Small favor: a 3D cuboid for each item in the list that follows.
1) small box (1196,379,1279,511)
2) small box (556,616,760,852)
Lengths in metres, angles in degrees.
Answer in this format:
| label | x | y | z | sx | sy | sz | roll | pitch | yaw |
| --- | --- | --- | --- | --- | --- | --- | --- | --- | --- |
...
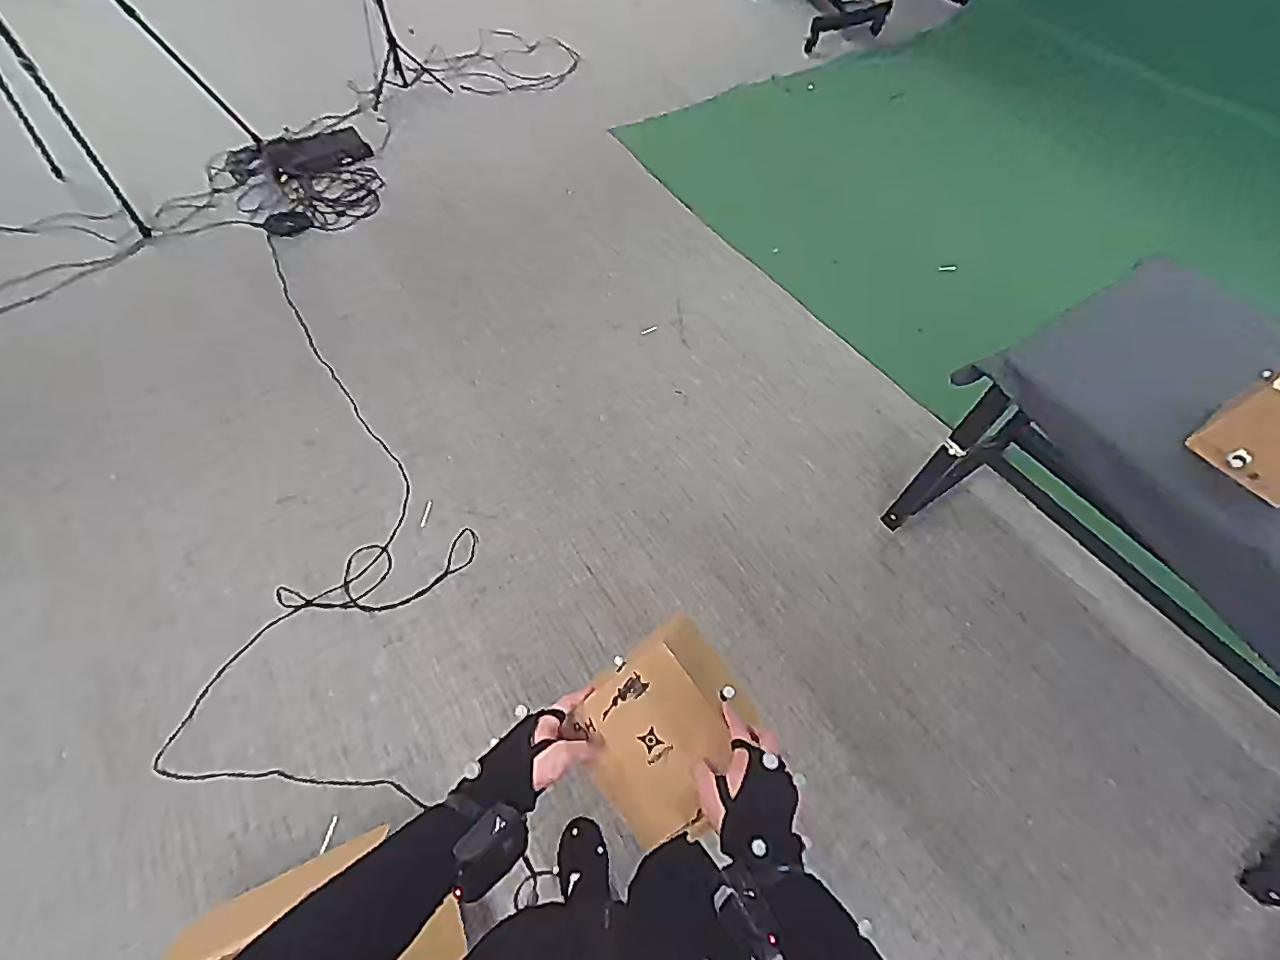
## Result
| label | x | y | z | sx | sy | sz | roll | pitch | yaw |
| --- | --- | --- | --- | --- | --- | --- | --- | --- | --- |
| small box | 1.113 | -0.080 | 0.905 | 0.179 | 0.176 | 0.168 | -31 | 63 | -18 |
| small box | 0.033 | 0.296 | 0.672 | 0.168 | 0.176 | 0.179 | -39 | 81 | 8 |
